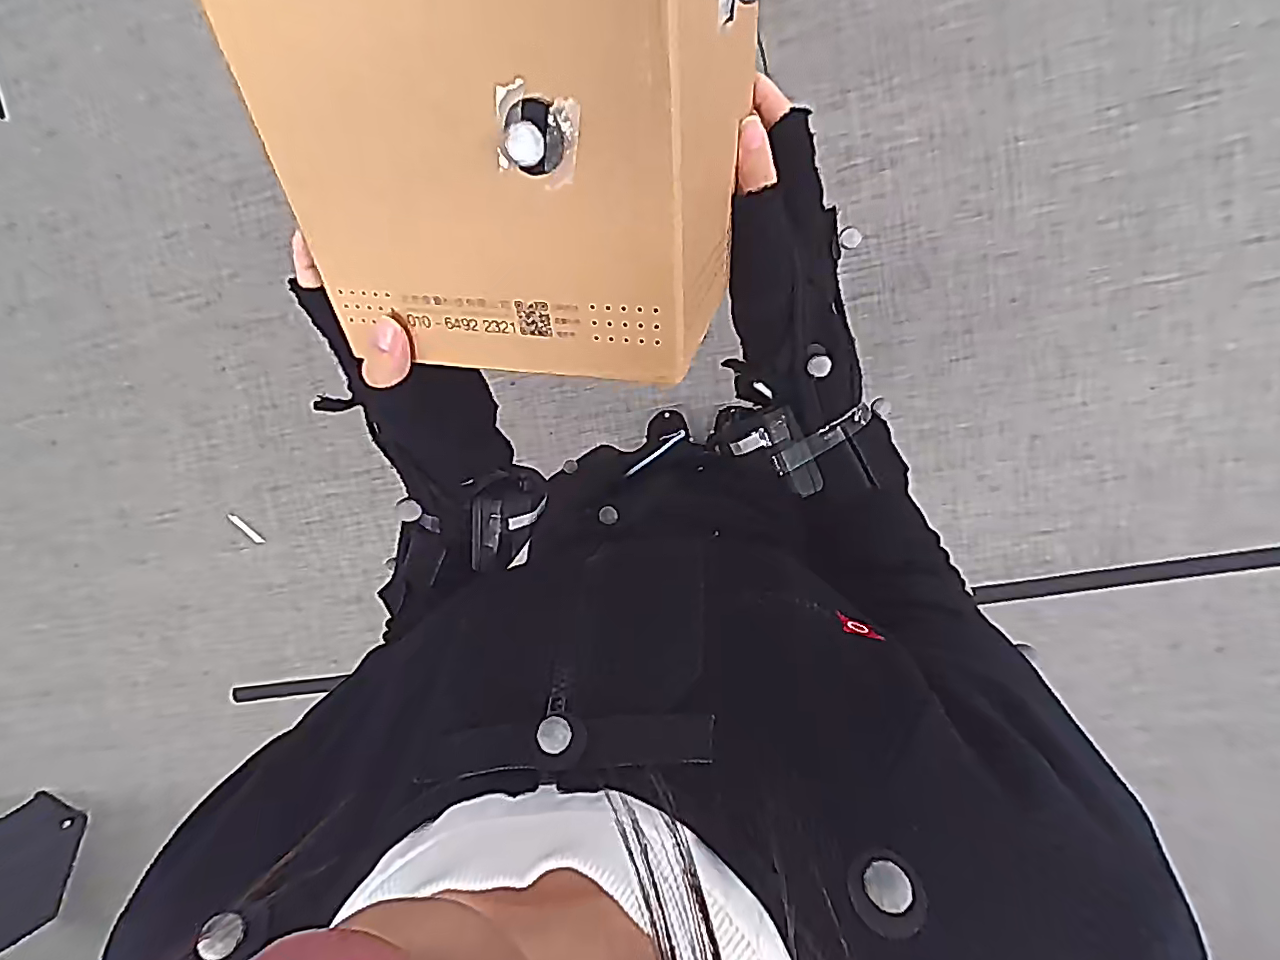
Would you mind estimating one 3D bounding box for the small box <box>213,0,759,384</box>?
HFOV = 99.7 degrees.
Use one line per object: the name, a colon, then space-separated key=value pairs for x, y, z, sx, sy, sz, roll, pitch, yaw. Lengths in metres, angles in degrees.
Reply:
small box: x=-0.038 y=-0.161 z=0.258 sx=0.168 sy=0.179 sz=0.176 roll=9 pitch=131 yaw=16
